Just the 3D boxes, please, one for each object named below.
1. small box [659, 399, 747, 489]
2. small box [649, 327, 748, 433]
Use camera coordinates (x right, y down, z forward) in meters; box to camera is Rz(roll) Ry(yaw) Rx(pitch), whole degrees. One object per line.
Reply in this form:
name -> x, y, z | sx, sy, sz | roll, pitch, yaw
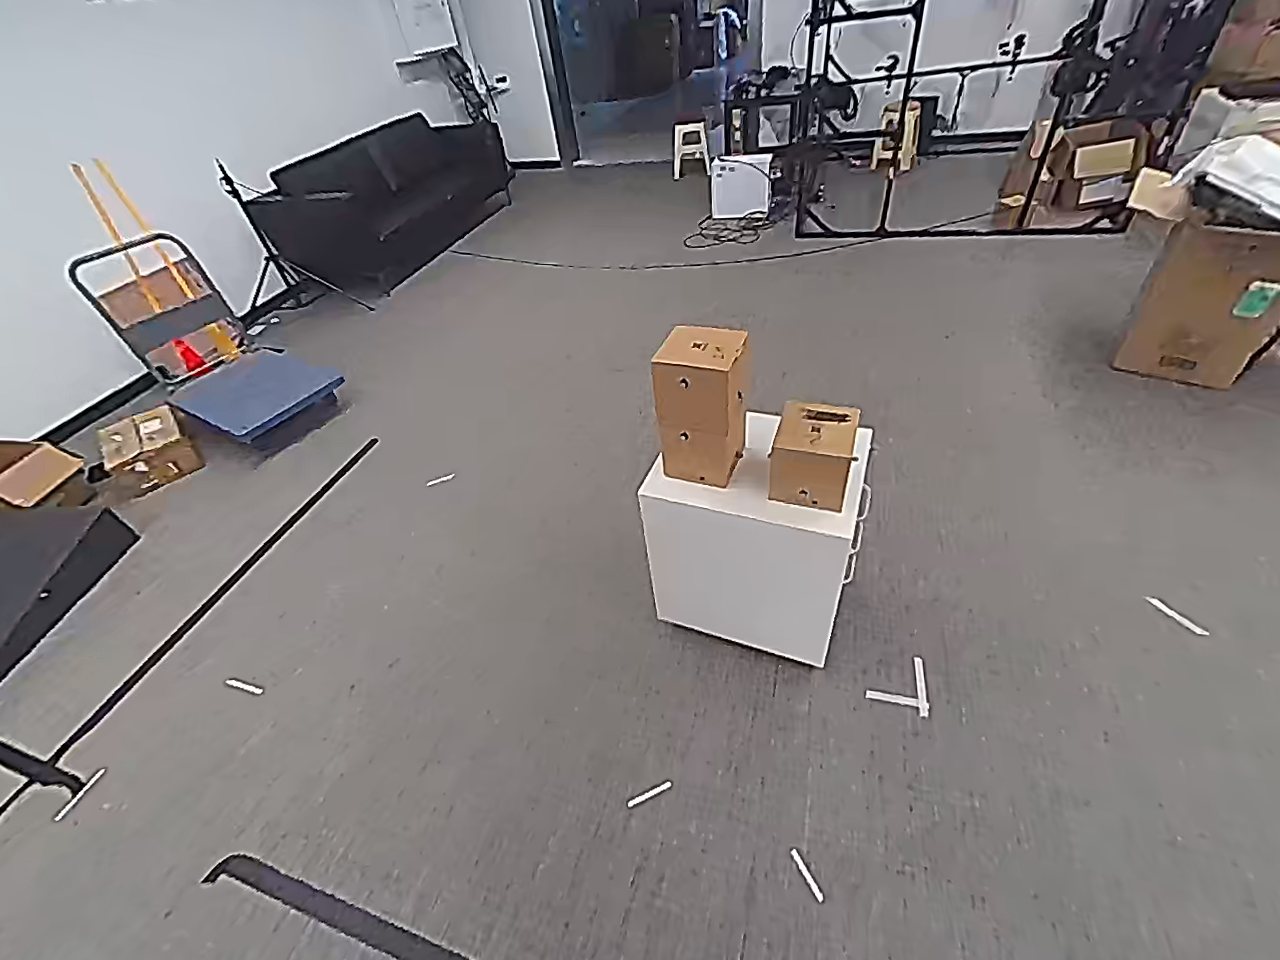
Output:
small box -> 0.158, -0.107, 1.335 | 0.168, 0.176, 0.179 | 12, 45, 22
small box -> 0.137, -0.225, 1.222 | 0.179, 0.176, 0.168 | 12, 47, 21
